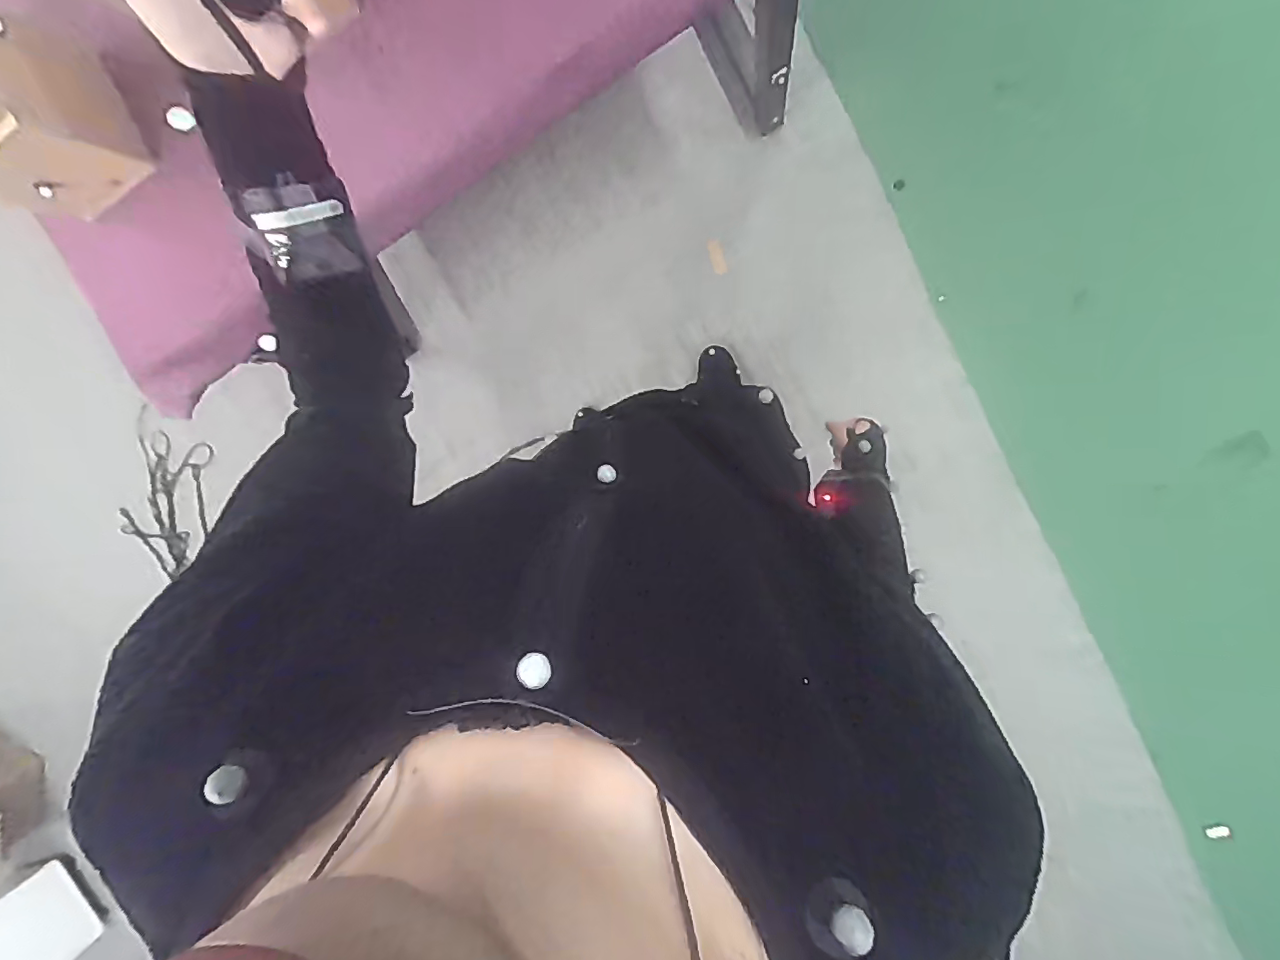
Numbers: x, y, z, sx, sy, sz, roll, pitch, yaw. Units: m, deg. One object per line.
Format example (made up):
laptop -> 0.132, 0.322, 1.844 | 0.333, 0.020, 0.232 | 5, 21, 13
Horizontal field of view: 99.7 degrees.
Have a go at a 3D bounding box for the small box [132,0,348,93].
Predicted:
small box -> -0.485, -0.617, 0.640 | 0.179, 0.176, 0.168 | -25, 96, 16

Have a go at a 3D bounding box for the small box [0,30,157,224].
small box -> -0.835, -0.479, 0.746 | 0.168, 0.176, 0.179 | -24, 96, 16
